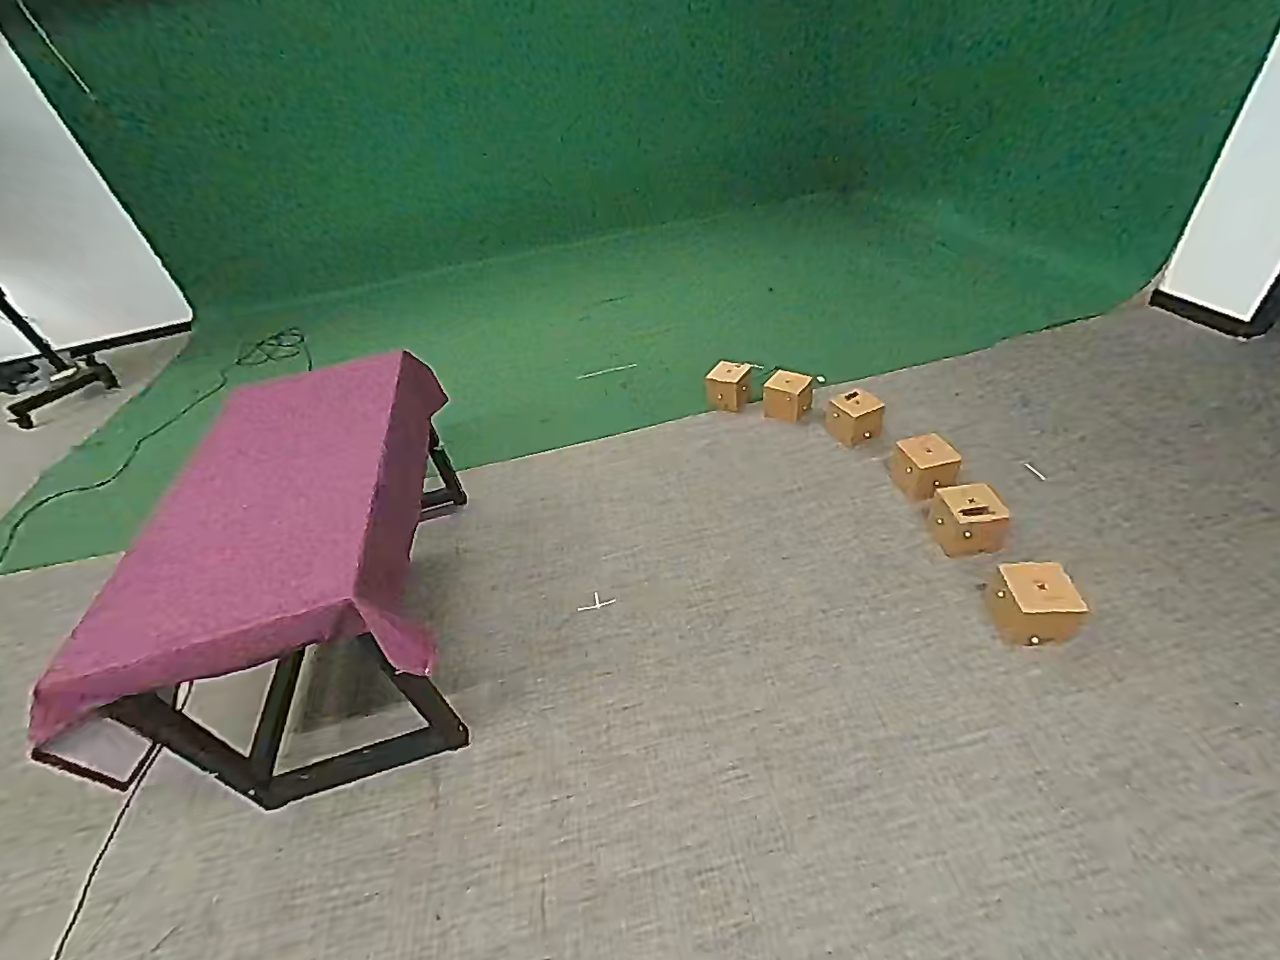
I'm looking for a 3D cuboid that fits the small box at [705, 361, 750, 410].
[{"bbox_3d":[0.445,-0.471,2.701,0.168,0.176,0.179,18,48,30],"label":"small box"}]

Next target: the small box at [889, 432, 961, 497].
[{"bbox_3d":[1.082,-0.053,2.066,0.168,0.176,0.179,-12,40,-3],"label":"small box"}]

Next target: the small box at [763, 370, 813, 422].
[{"bbox_3d":[0.699,-0.398,2.563,0.179,0.176,0.168,22,49,32],"label":"small box"}]

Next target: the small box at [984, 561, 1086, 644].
[{"bbox_3d":[1.139,0.356,1.578,0.168,0.176,0.179,-3,41,10],"label":"small box"}]
